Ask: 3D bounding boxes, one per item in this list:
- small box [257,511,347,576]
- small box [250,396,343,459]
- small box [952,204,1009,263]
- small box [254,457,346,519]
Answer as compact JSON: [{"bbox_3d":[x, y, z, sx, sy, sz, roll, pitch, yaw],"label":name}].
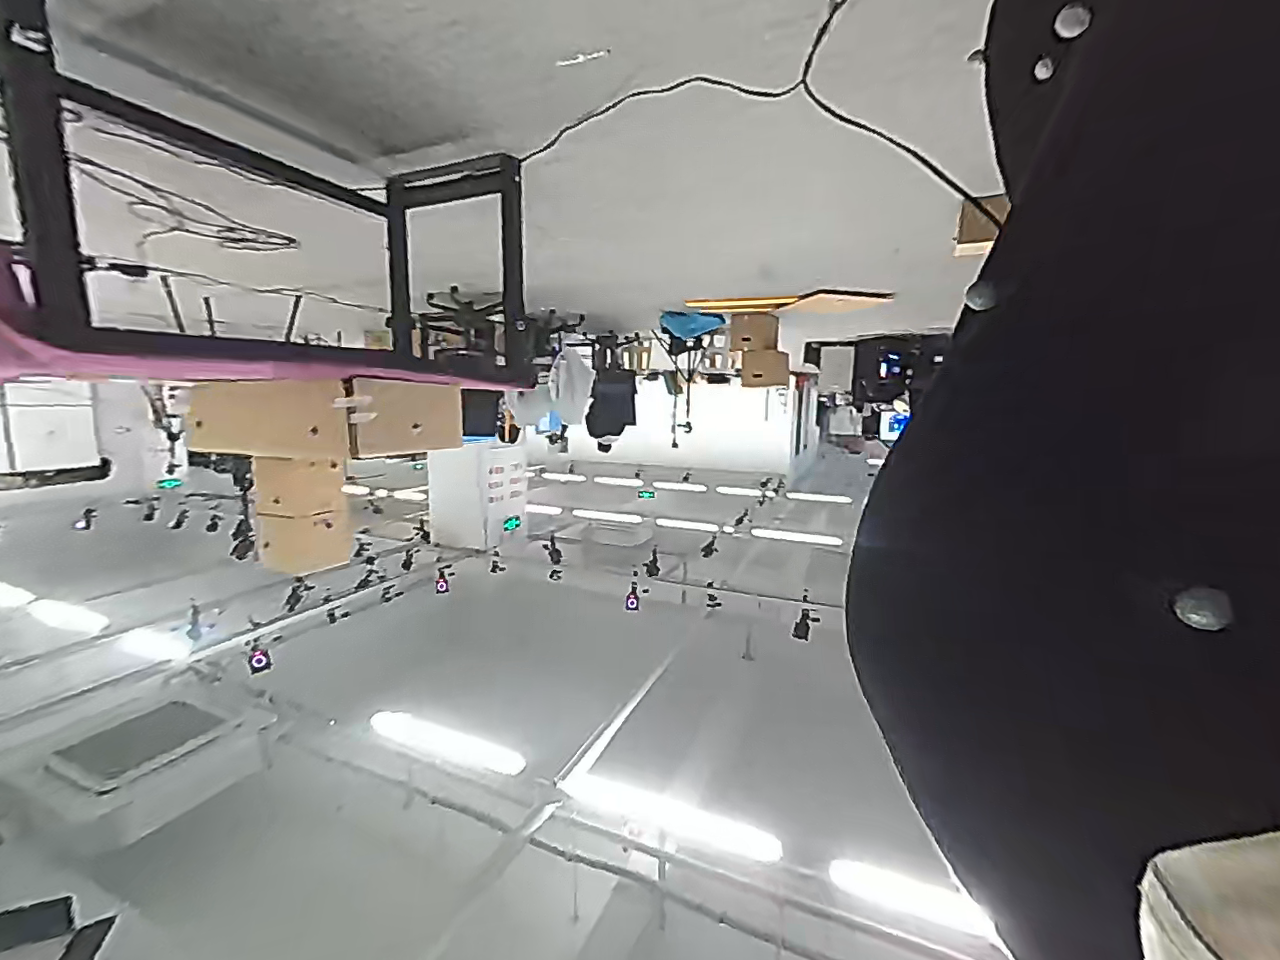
[{"bbox_3d":[-1.000,0.174,1.600,0.179,0.176,0.168,2,-173,24],"label":"small box"},{"bbox_3d":[-0.991,-0.150,1.561,0.179,0.176,0.168,2,-173,23],"label":"small box"},{"bbox_3d":[1.313,-0.953,2.088,0.168,0.176,0.179,6,-171,26],"label":"small box"},{"bbox_3d":[-0.999,0.012,1.583,0.179,0.176,0.168,4,-173,24],"label":"small box"}]
